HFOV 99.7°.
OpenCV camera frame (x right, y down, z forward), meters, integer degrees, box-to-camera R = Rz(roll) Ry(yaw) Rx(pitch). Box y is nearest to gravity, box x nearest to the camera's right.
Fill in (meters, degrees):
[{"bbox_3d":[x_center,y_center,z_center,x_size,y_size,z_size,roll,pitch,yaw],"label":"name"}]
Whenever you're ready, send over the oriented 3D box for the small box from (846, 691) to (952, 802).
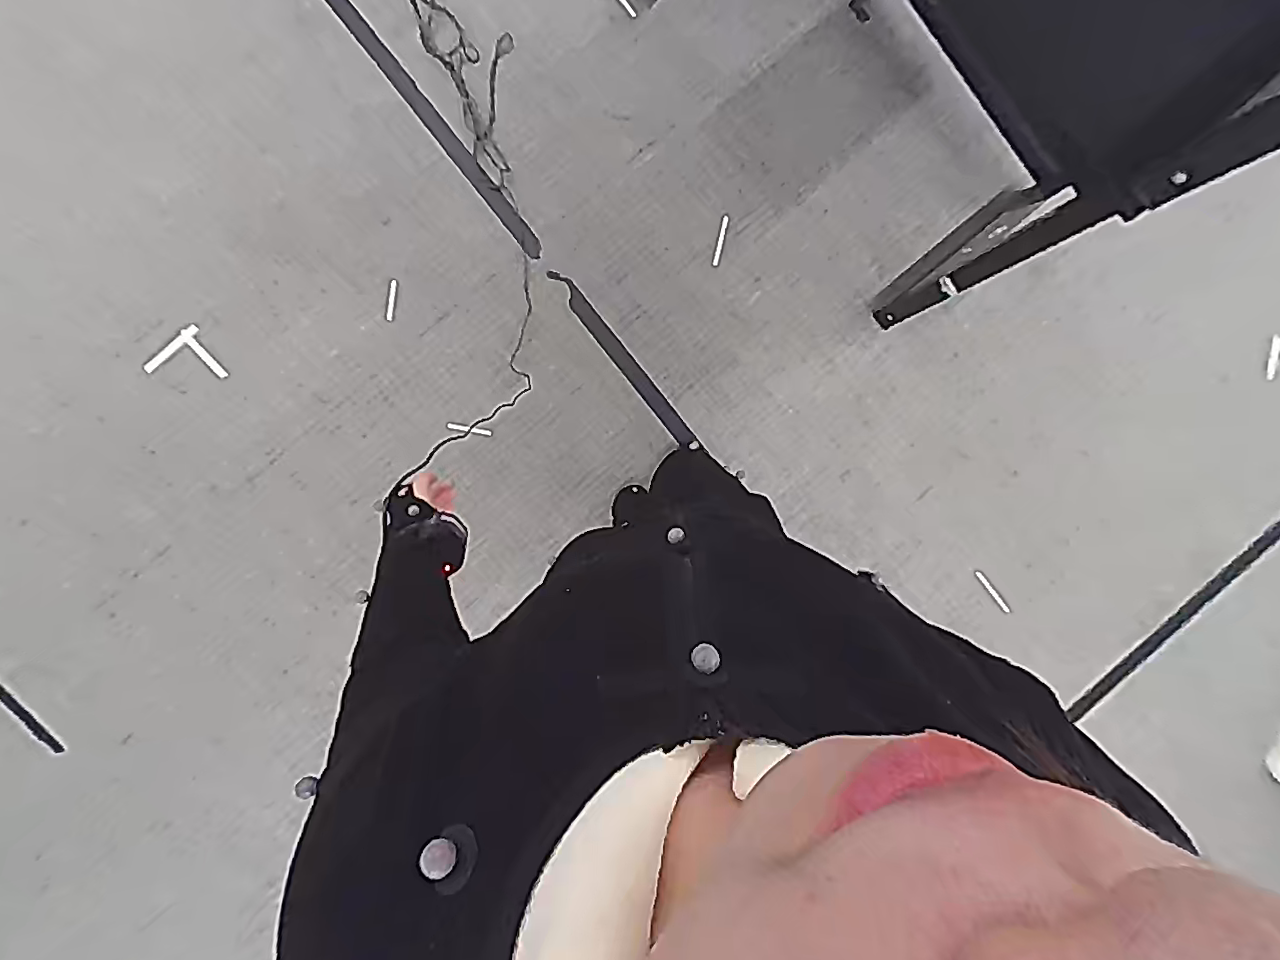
[{"bbox_3d":[0.689,0.717,1.472,0.179,0.176,0.168,-40,94,0],"label":"small box"}]
